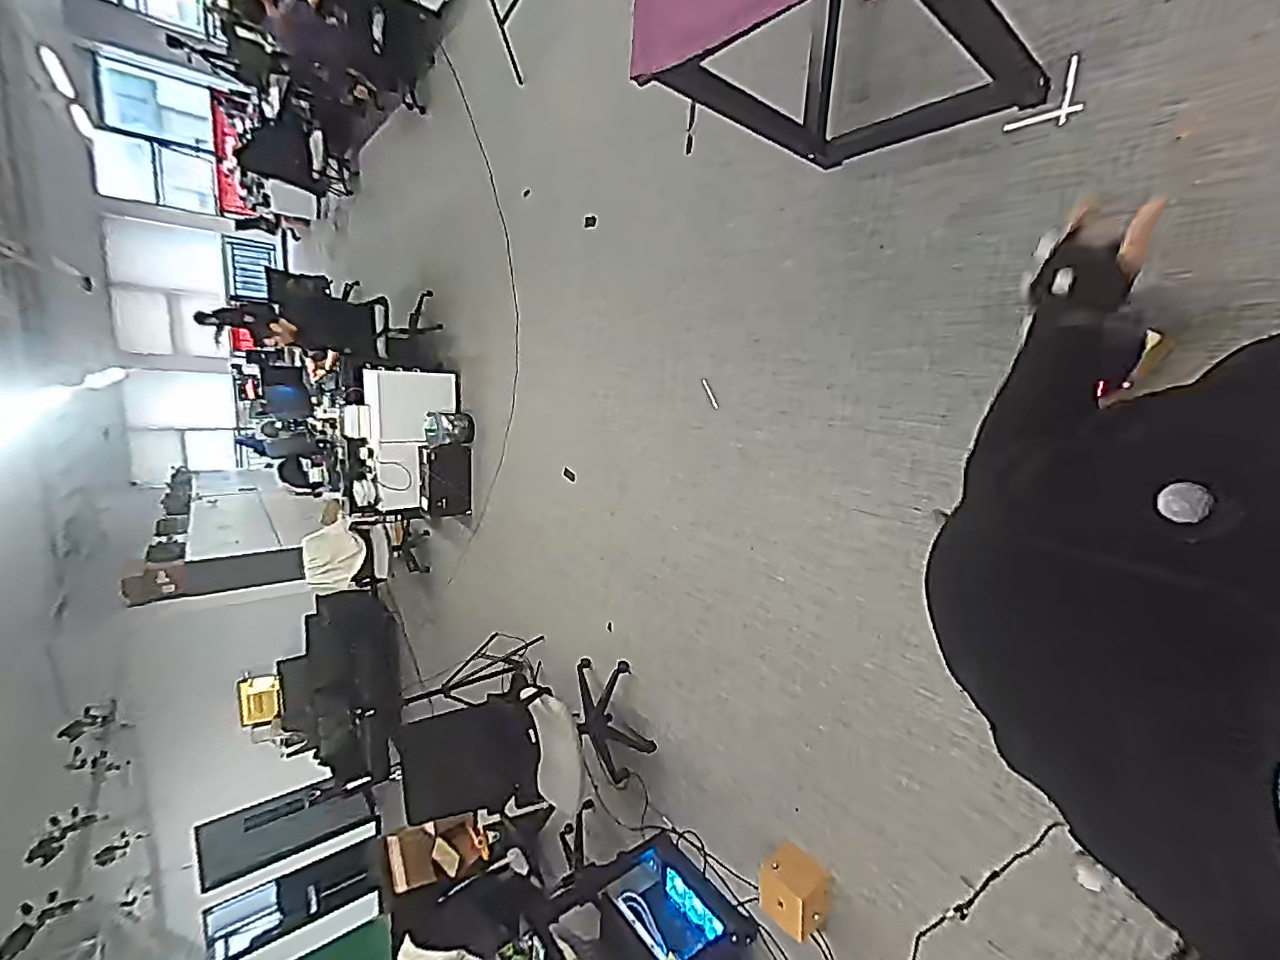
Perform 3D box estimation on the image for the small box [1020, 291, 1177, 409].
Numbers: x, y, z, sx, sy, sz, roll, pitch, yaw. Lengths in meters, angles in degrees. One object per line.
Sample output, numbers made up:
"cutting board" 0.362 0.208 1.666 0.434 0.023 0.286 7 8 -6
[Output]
"small box" 0.952 -0.262 1.122 0.168 0.176 0.179 54 132 33
